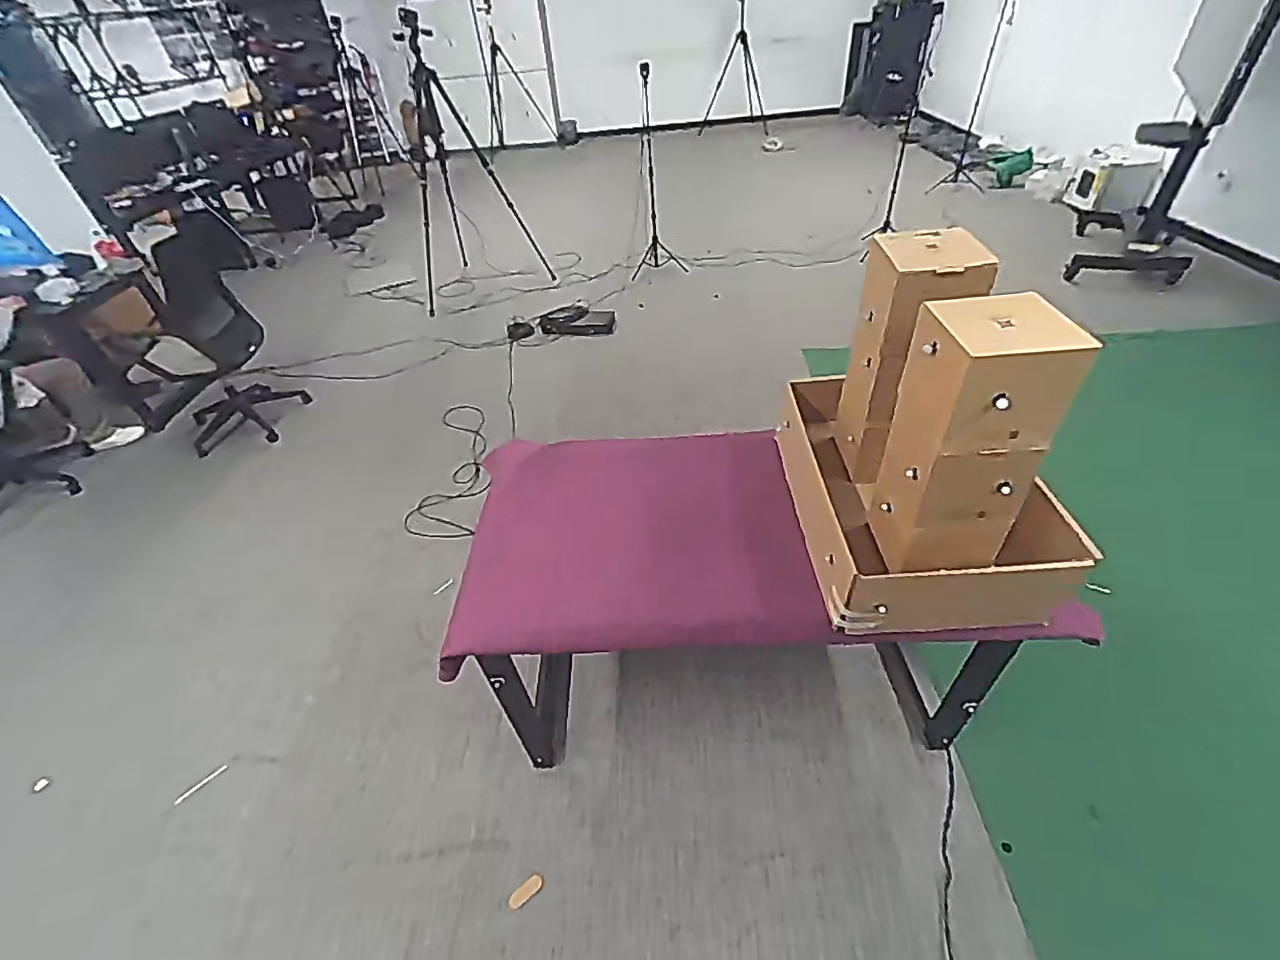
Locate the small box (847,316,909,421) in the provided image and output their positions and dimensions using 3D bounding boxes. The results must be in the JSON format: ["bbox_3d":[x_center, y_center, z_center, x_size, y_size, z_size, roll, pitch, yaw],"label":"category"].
[{"bbox_3d":[0.547,-0.235,1.135,0.168,0.176,0.179,-2,43,5],"label":"small box"}]

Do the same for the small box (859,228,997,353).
[{"bbox_3d":[0.529,-0.352,1.023,0.168,0.176,0.179,-2,45,6],"label":"small box"}]

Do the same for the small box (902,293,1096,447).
[{"bbox_3d":[0.521,-0.161,0.819,0.168,0.176,0.179,-4,41,4],"label":"small box"}]

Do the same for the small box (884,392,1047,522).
[{"bbox_3d":[0.537,-0.040,0.924,0.168,0.176,0.179,-3,41,5],"label":"small box"}]
